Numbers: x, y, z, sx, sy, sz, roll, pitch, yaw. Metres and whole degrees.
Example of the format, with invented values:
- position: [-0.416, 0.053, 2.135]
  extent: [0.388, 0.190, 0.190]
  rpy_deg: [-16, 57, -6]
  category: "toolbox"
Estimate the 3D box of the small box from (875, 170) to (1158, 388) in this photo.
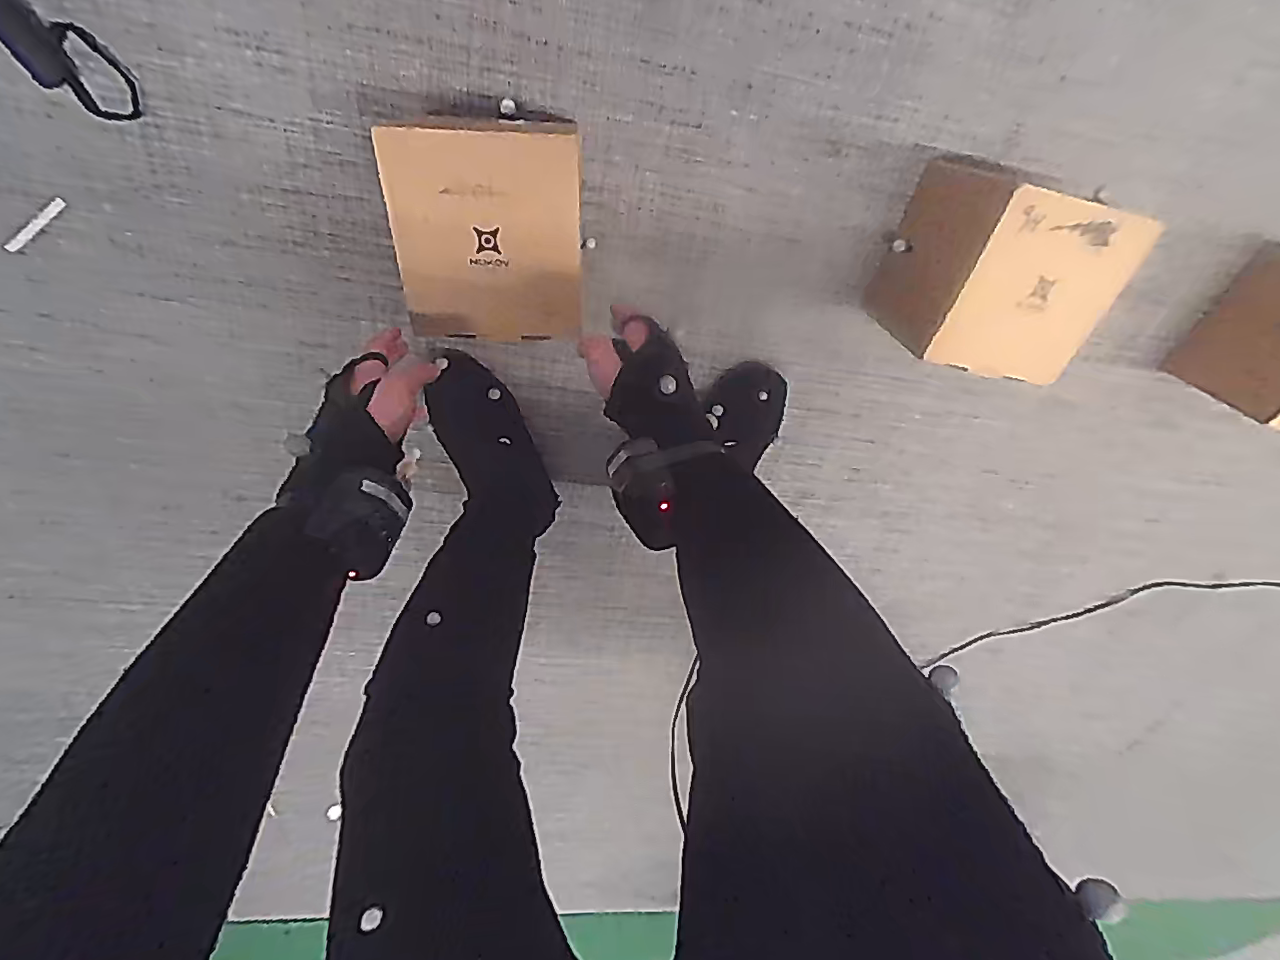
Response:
- position: [0.399, -0.232, 0.618]
  extent: [0.168, 0.176, 0.179]
  rpy_deg: [8, 125, -10]
  category: "small box"

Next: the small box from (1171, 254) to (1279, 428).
- position: [0.866, -0.170, 0.693]
  extent: [0.168, 0.176, 0.179]
  rpy_deg: [9, 126, -9]
  category: "small box"
